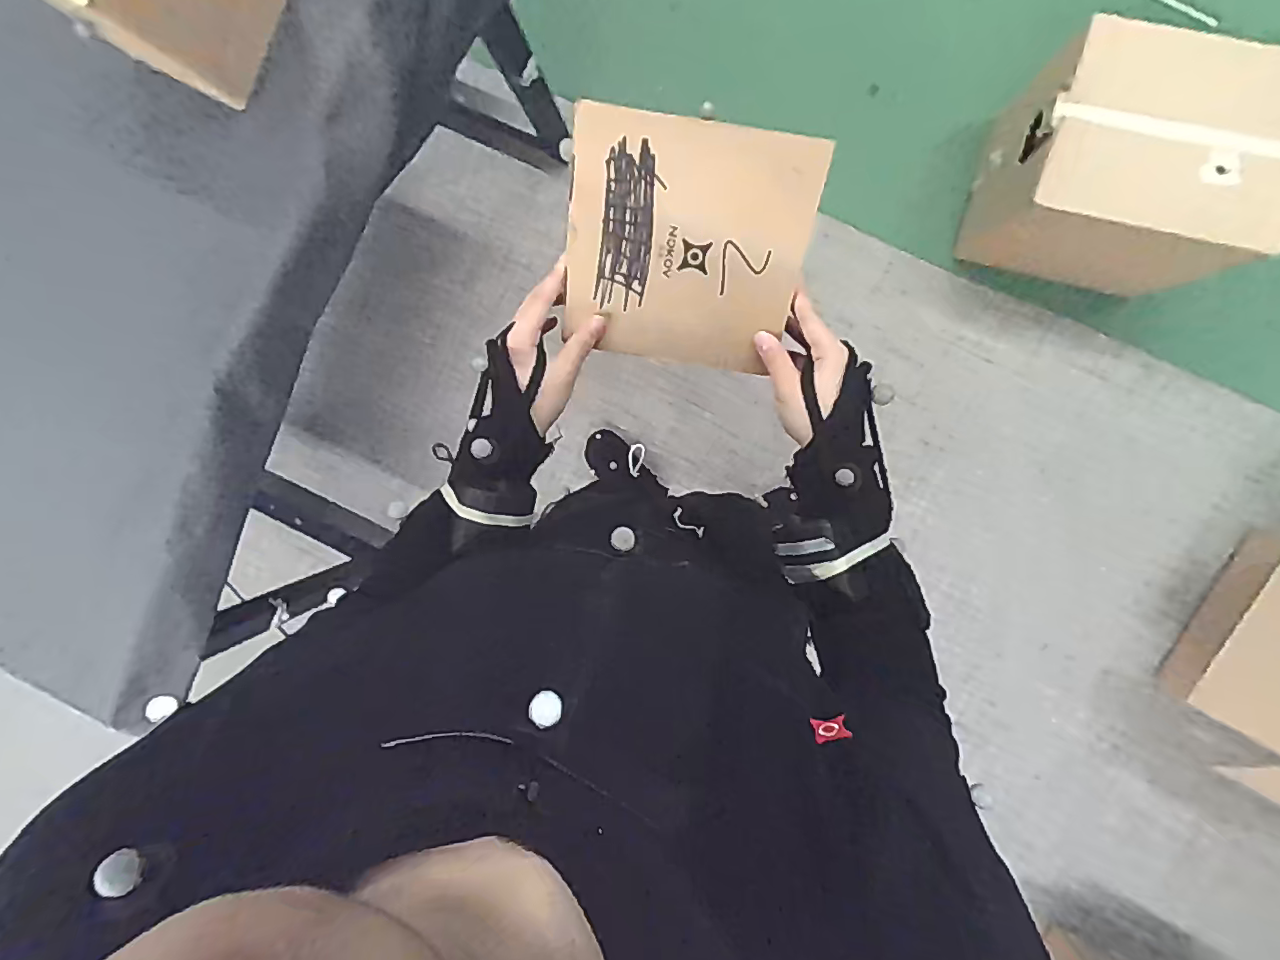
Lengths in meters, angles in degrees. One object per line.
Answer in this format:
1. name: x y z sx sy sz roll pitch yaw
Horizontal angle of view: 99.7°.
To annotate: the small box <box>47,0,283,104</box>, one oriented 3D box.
1. small box: -0.509 -0.536 0.549 0.168 0.176 0.179 28 98 4
